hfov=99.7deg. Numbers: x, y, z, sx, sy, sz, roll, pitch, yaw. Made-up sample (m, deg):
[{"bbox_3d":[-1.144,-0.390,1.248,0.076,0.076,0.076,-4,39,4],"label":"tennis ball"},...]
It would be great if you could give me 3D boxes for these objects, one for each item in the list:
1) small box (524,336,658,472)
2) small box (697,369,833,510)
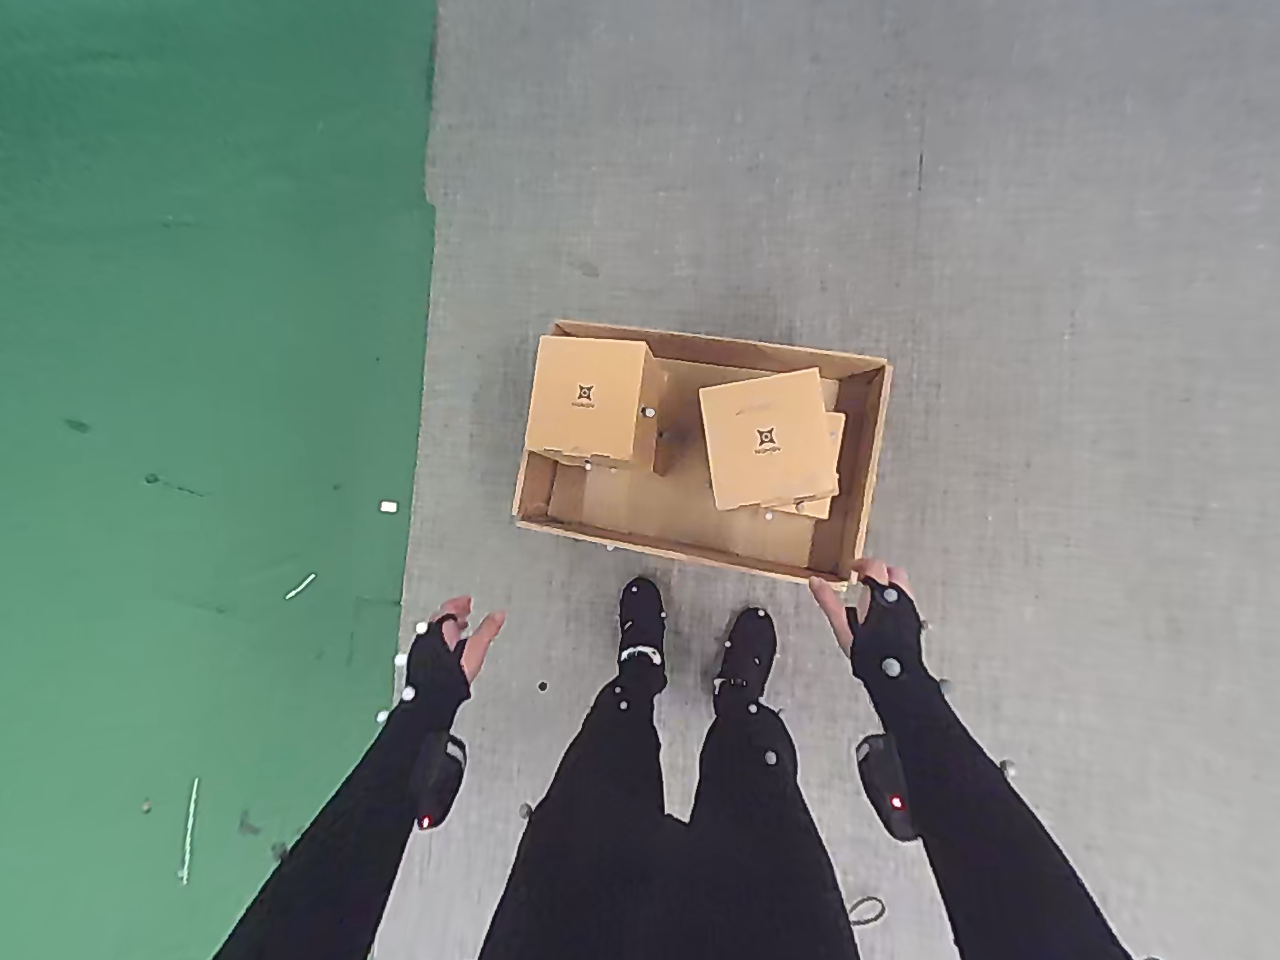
[{"bbox_3d":[-0.068,-0.115,0.874,0.168,0.176,0.179,6,86,12],"label":"small box"},{"bbox_3d":[0.184,-0.049,0.814,0.168,0.176,0.179,-8,83,10],"label":"small box"}]
